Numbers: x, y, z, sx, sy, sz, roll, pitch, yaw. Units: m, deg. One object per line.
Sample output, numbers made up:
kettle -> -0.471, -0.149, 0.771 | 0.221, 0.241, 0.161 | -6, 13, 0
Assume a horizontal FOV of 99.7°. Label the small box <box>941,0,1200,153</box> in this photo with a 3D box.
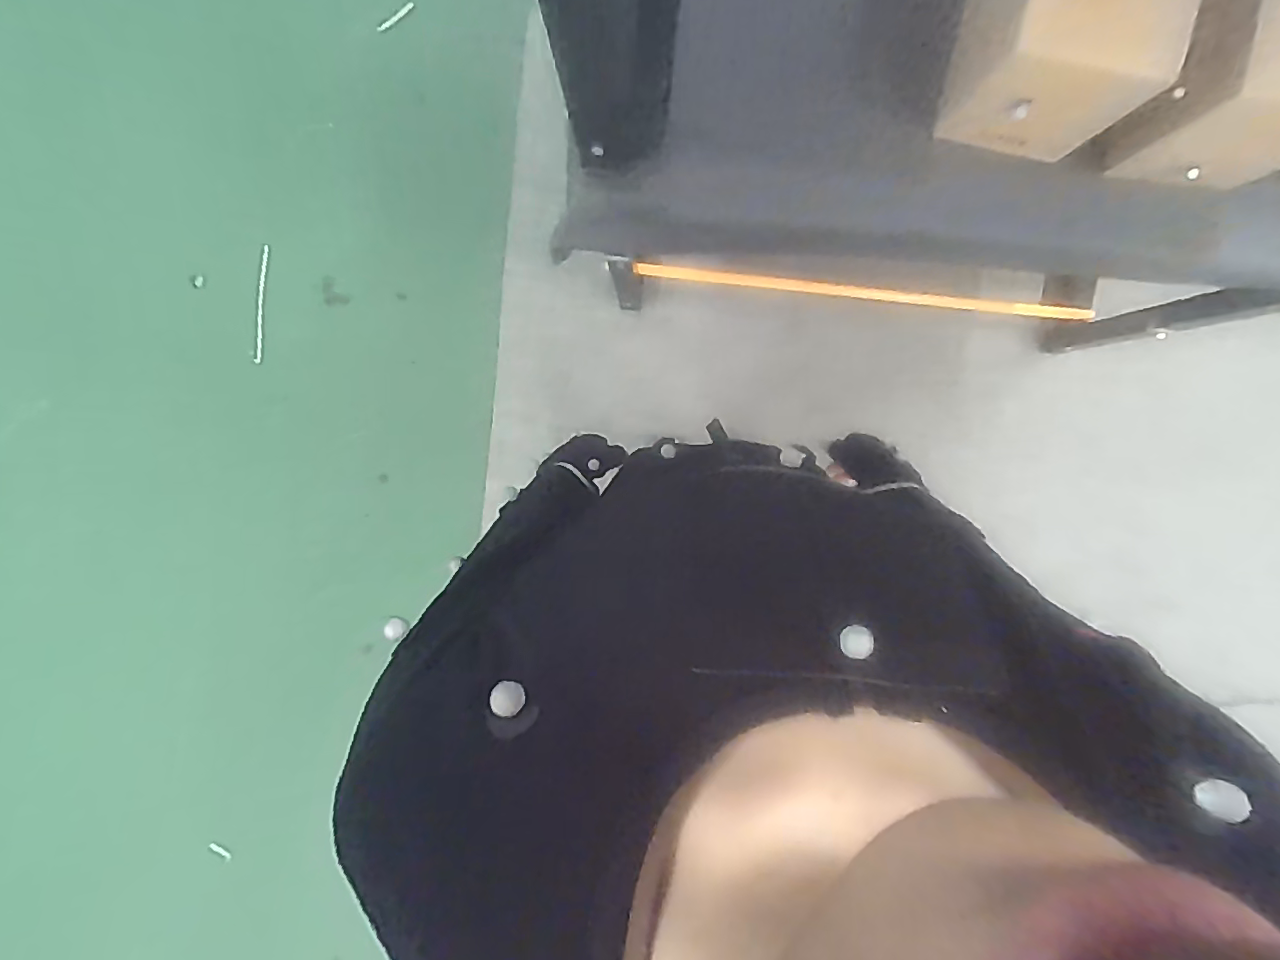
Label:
small box -> 0.474, -0.508, 0.609 | 0.168, 0.176, 0.179 | 13, 95, 0
